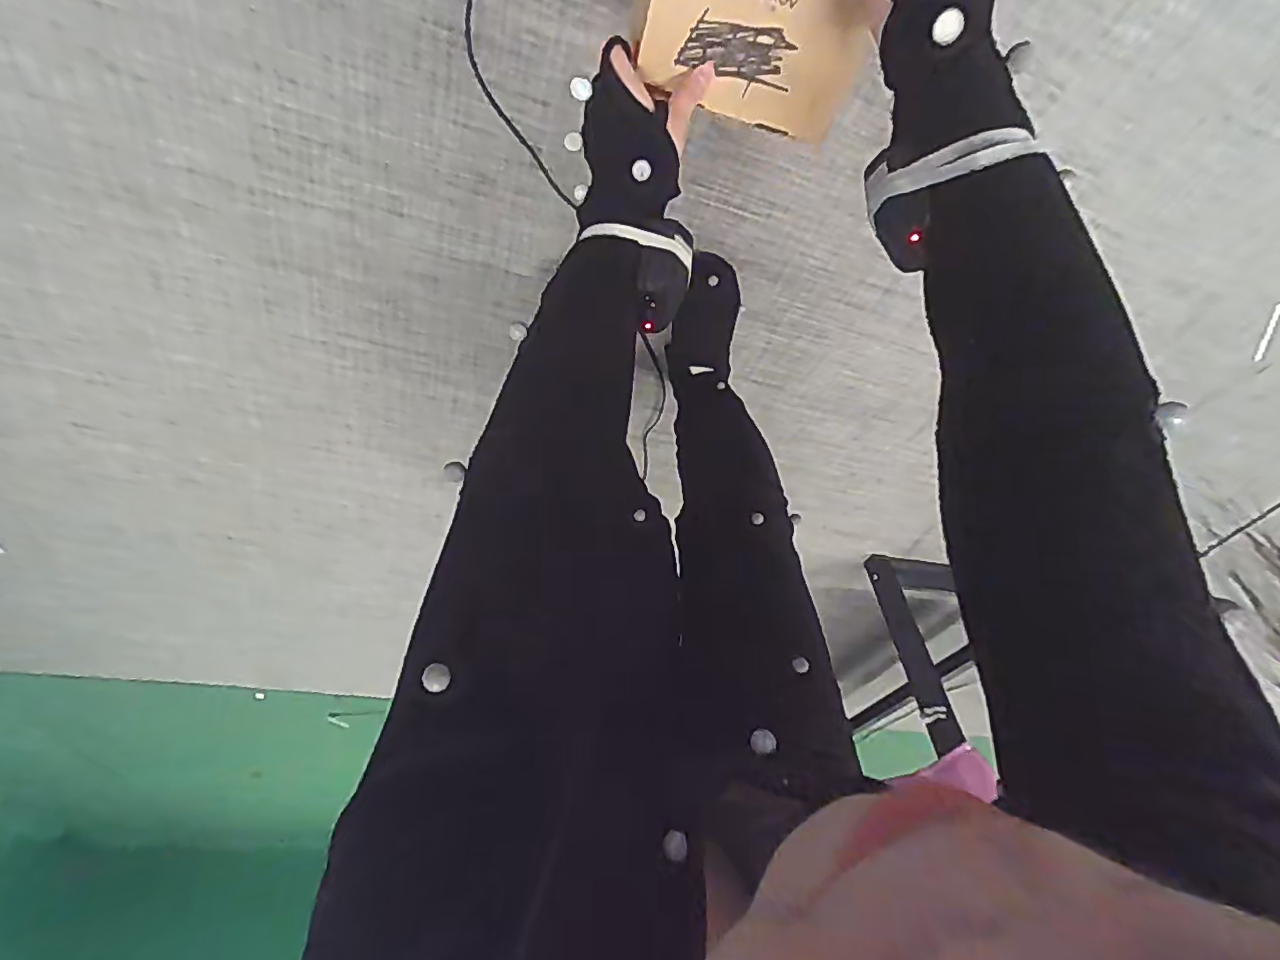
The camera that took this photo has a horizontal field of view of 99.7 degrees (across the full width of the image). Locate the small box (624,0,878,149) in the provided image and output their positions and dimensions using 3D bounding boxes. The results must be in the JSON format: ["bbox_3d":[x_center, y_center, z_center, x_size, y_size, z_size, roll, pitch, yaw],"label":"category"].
[{"bbox_3d":[0.087,-0.408,0.432,0.168,0.176,0.179,8,138,-12],"label":"small box"}]
